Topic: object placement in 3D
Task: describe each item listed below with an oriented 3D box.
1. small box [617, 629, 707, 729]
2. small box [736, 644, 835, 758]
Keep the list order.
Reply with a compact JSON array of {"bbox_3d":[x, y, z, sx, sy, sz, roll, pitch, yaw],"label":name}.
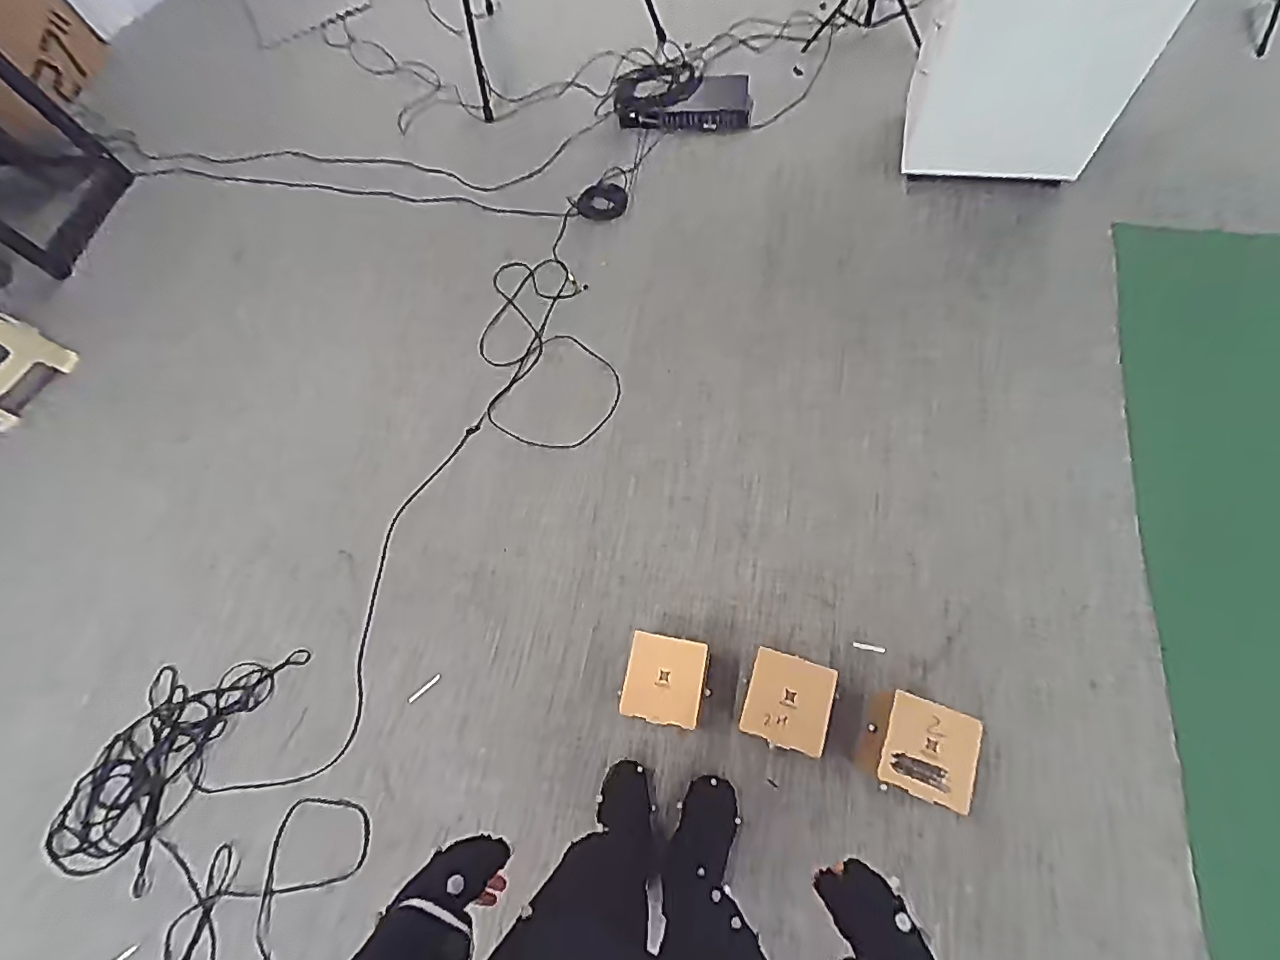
[{"bbox_3d":[0.056,0.450,1.221,0.168,0.176,0.179,8,69,11],"label":"small box"},{"bbox_3d":[0.307,0.475,1.173,0.168,0.176,0.179,15,71,15],"label":"small box"}]
